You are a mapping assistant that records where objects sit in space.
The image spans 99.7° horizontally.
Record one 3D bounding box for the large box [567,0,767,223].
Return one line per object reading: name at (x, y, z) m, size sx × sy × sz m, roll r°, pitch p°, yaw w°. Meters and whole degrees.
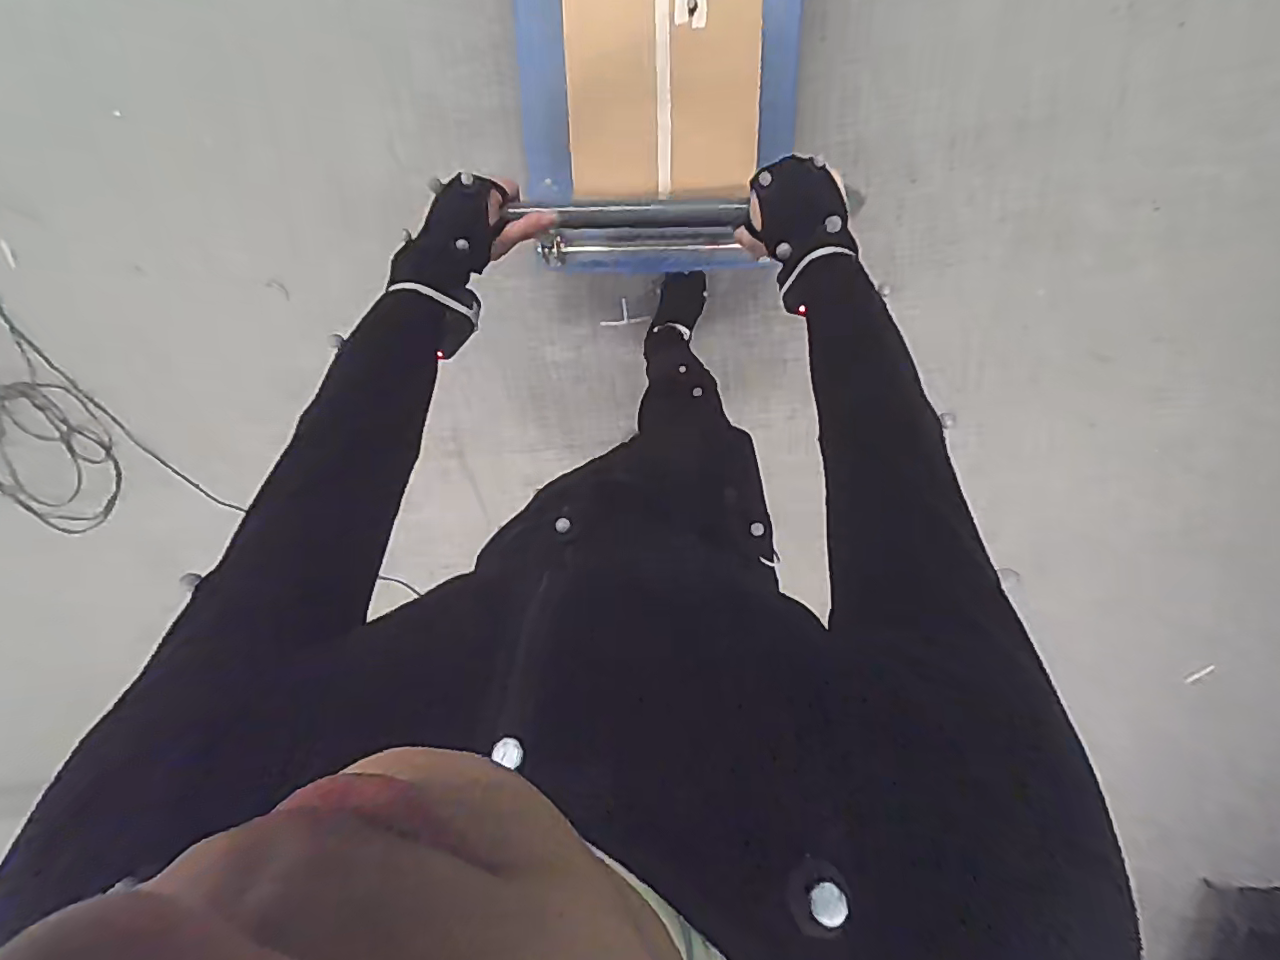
large box at (0.054, -0.719, 1.002) m, size 0.320 × 0.320 × 0.408 m, roll 0°, pitch 110°, yaw 4°
